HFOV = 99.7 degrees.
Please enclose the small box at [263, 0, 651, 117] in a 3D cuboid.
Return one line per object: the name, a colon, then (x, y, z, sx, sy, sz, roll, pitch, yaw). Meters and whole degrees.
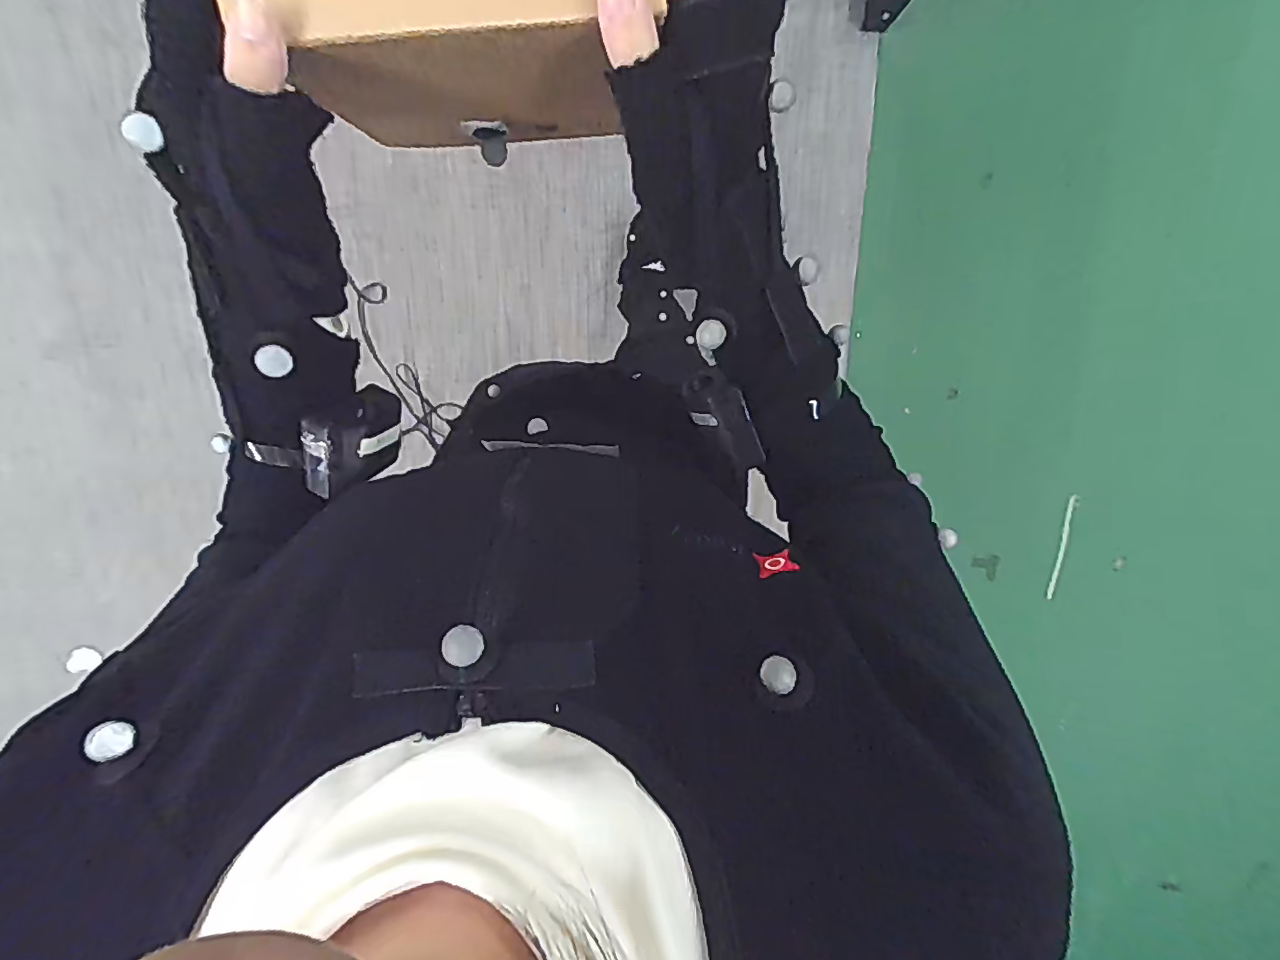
small box: (-0.085, -0.285, 0.233, 0.168, 0.176, 0.179, -5, 110, -2)
